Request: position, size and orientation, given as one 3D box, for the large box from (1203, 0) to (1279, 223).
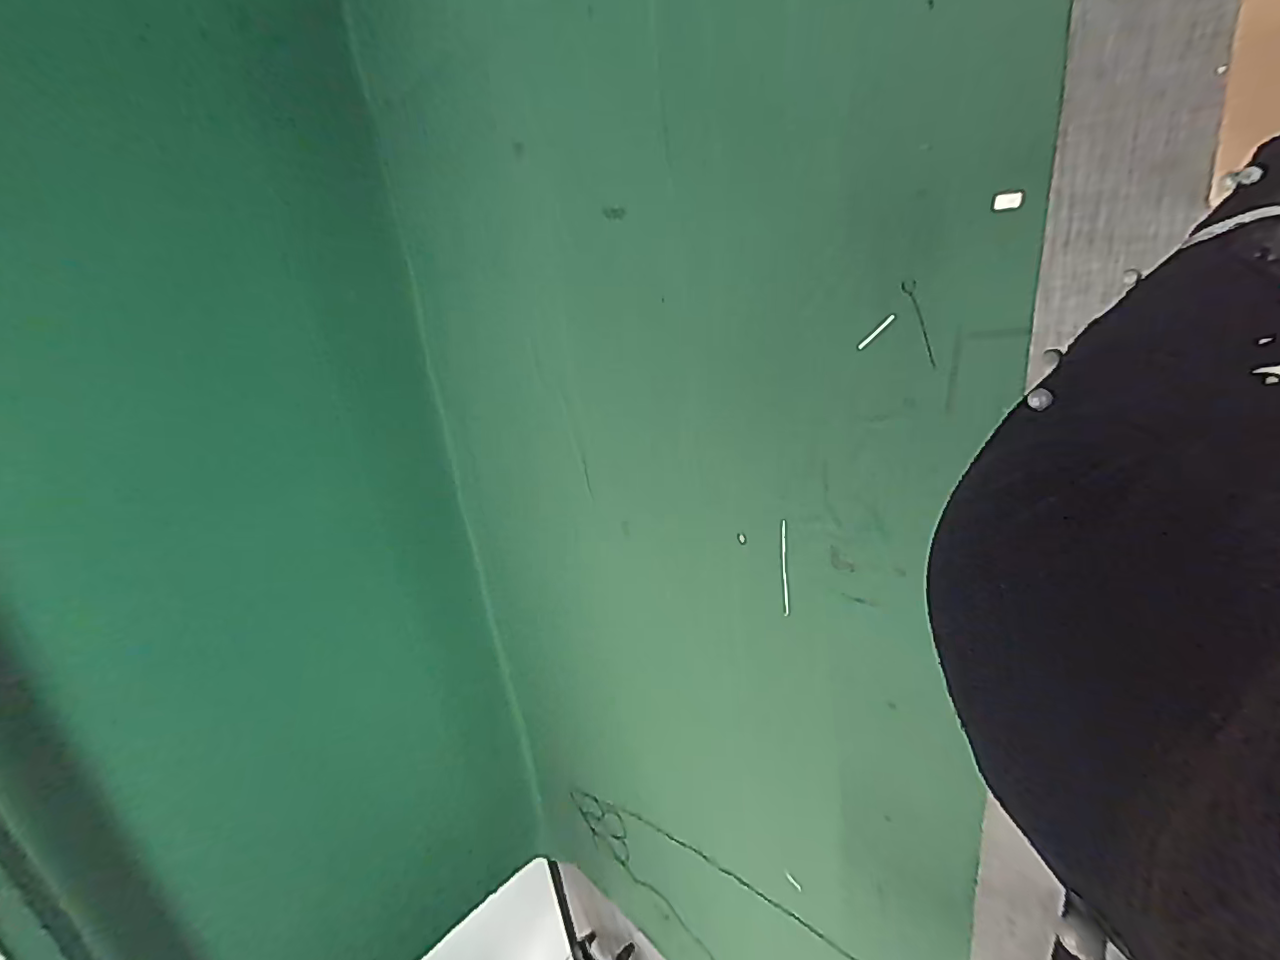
[{"bbox_3d":[0.991,-0.588,0.706,0.320,0.320,0.408,10,113,45],"label":"large box"}]
